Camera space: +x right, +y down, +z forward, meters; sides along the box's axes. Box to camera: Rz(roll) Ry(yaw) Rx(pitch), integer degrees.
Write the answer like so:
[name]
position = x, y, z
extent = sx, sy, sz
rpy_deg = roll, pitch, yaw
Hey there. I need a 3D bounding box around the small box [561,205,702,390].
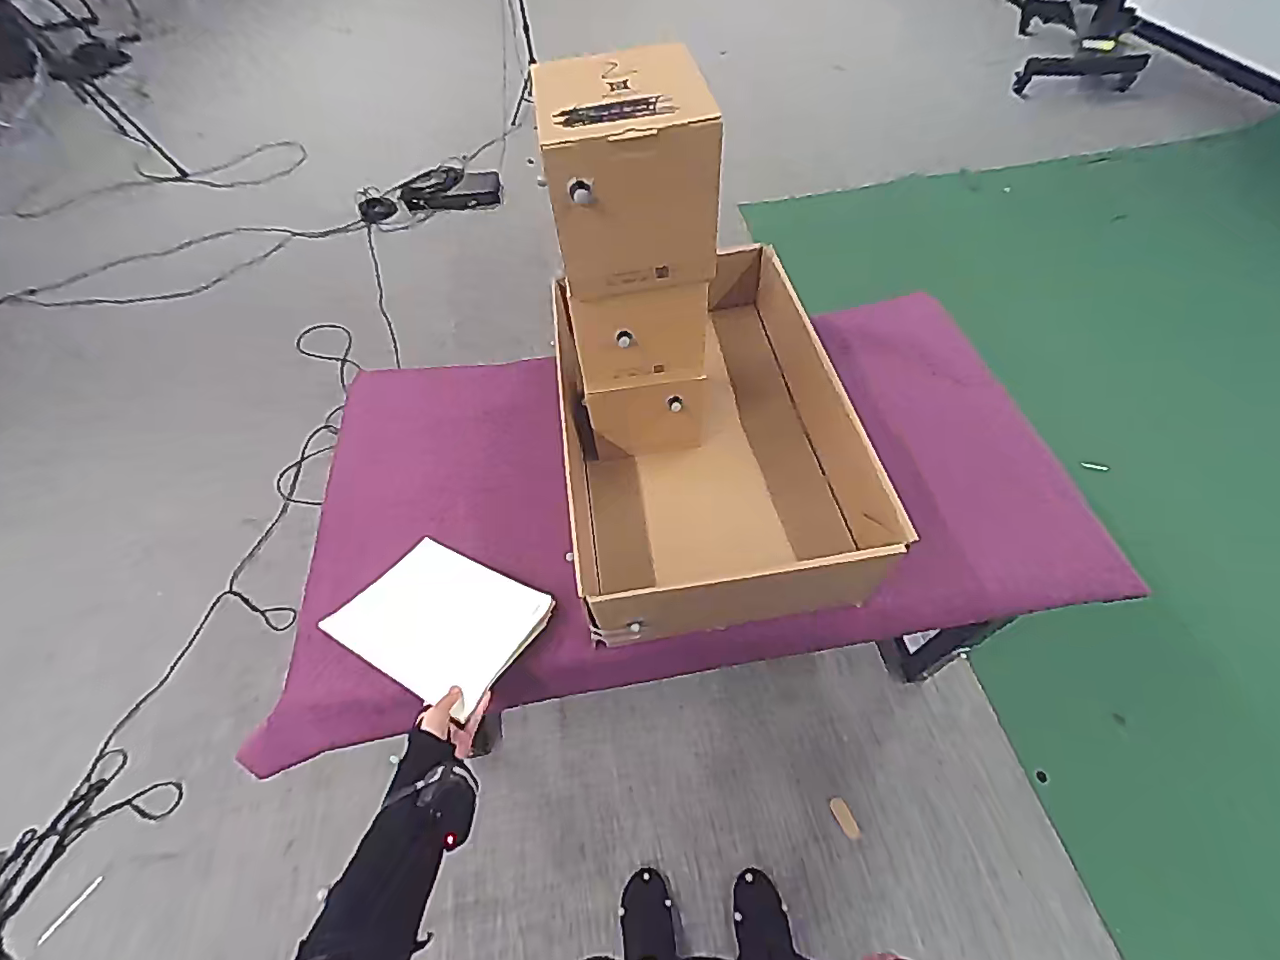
[small box]
position = -0.009, -0.238, 0.736
extent = 0.168, 0.176, 0.179
rpy_deg = -8, 56, -1
